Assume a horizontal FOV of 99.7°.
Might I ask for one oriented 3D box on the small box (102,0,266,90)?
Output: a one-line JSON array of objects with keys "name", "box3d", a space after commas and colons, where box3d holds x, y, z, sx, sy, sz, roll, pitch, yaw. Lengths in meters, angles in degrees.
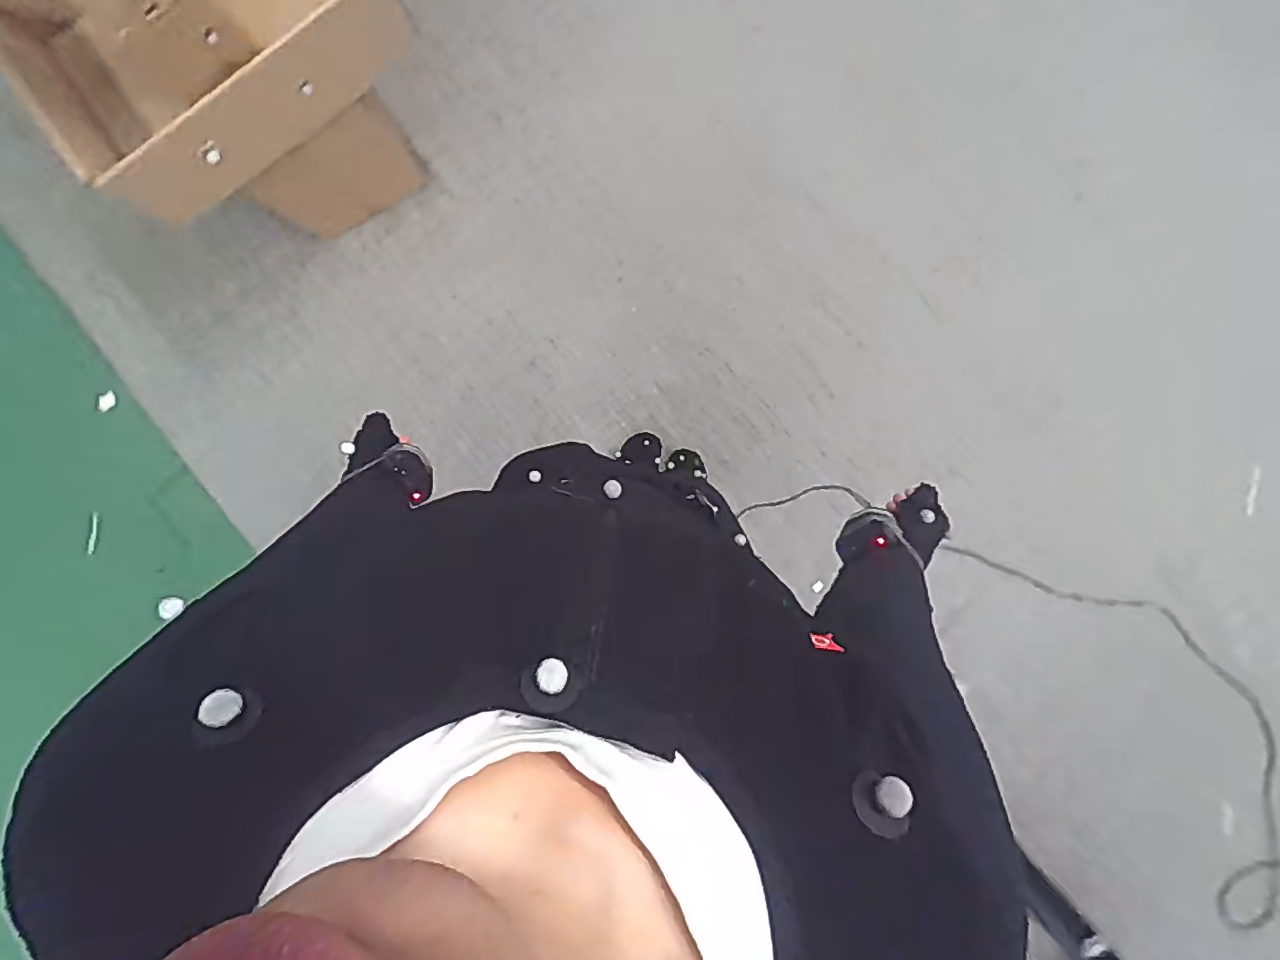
[{"name": "small box", "box3d": [-0.804, -0.824, 0.931, 0.168, 0.176, 0.179, -35, 90, 1]}]
